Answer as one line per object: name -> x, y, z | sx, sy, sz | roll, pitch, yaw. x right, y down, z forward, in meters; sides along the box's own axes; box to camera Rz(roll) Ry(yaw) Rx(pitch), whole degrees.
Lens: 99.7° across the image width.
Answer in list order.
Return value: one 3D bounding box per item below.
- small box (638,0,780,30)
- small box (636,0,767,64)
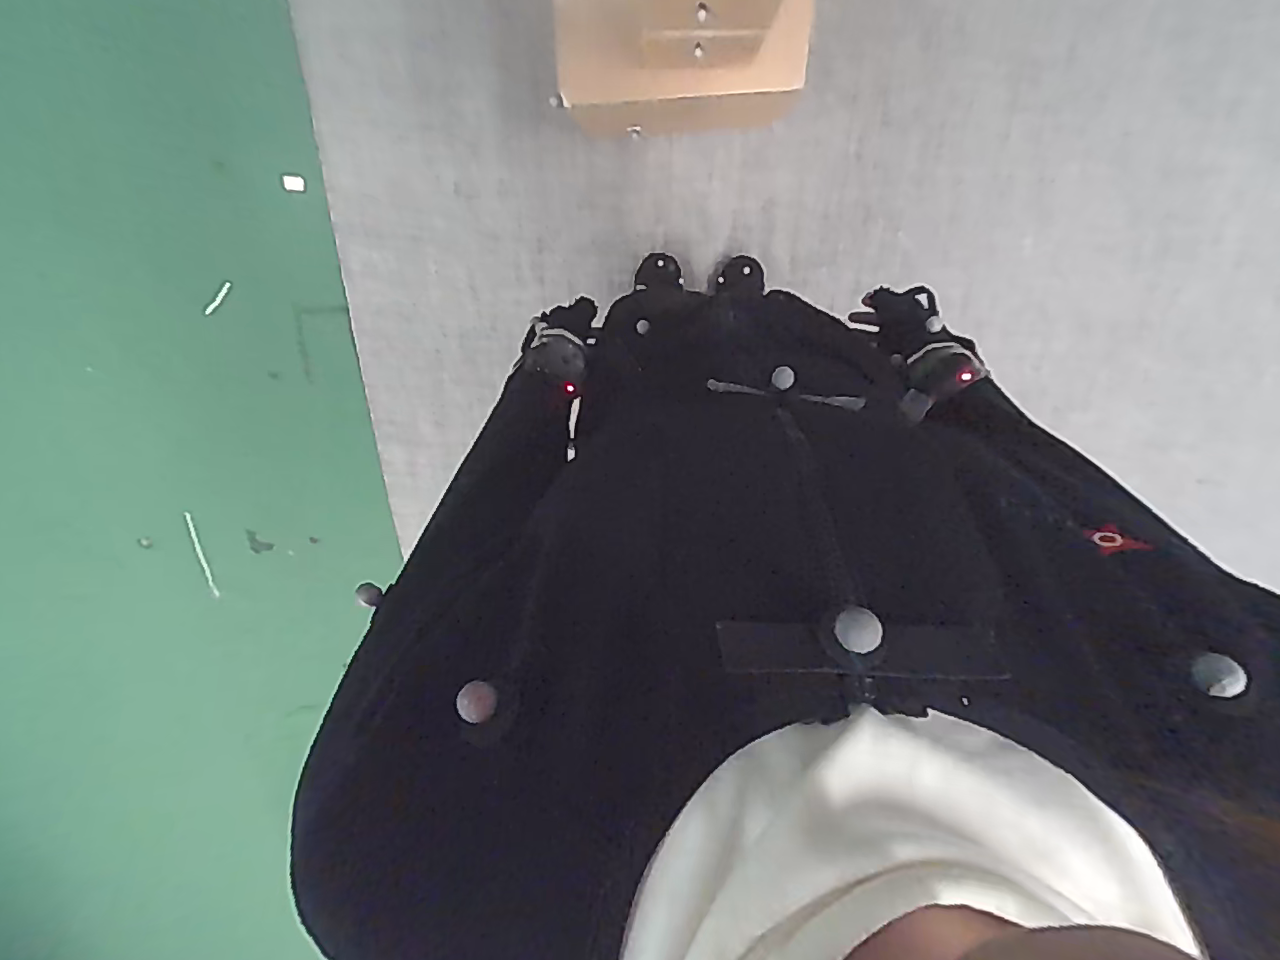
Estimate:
small box -> 0.083, -0.639, 0.612 | 0.179, 0.176, 0.168 | 0, 116, 4
small box -> 0.088, -0.708, 0.761 | 0.179, 0.176, 0.168 | 1, 116, 3
